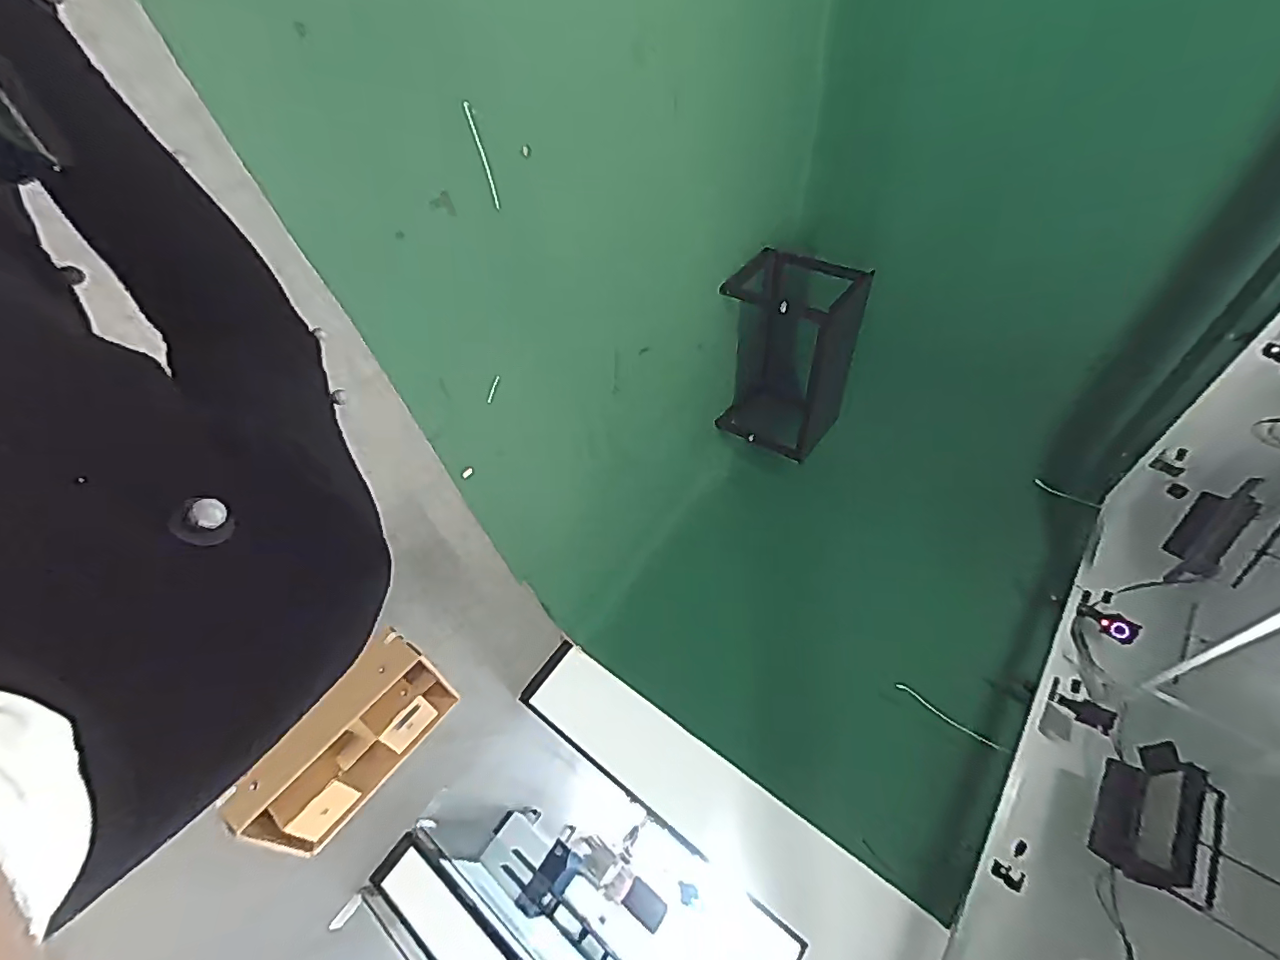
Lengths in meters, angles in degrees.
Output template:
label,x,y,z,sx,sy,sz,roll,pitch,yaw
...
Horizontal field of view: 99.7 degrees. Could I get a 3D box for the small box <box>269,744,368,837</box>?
label,x,y,z,sx,sy,sz,roll,pitch,yaw
small box,-0.982,0.945,1.655,0.168,0.176,0.179,-44,147,-28
